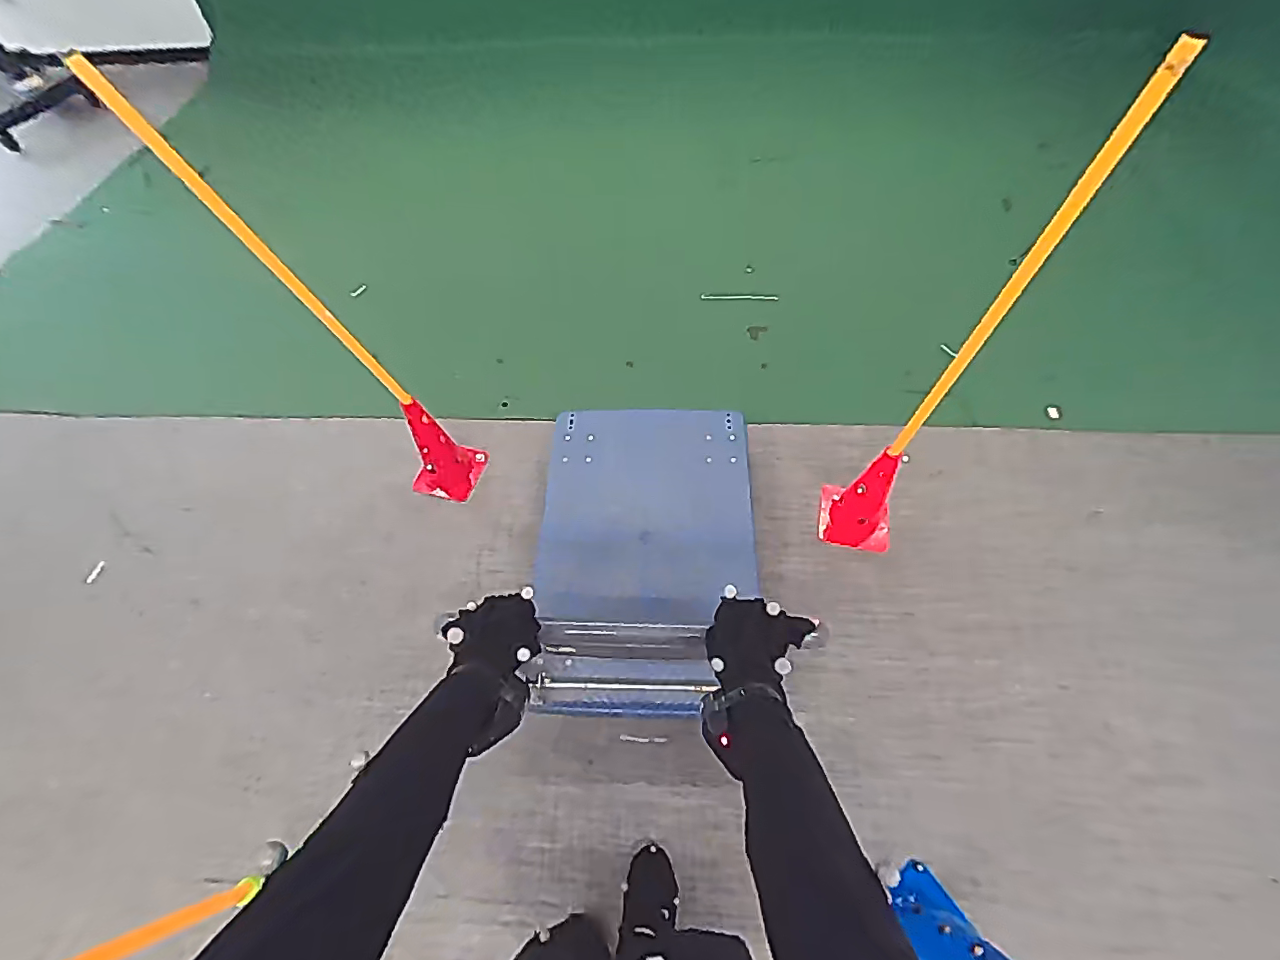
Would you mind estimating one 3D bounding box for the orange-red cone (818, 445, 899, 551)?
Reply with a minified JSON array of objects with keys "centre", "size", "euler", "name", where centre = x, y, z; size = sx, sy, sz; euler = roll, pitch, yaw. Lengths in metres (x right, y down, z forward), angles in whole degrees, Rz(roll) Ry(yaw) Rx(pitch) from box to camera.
[{"centre":[0.637,0.024,1.495],"size":[0.198,0.360,0.199],"euler":[11,59,10],"name":"orange-red cone"}]
